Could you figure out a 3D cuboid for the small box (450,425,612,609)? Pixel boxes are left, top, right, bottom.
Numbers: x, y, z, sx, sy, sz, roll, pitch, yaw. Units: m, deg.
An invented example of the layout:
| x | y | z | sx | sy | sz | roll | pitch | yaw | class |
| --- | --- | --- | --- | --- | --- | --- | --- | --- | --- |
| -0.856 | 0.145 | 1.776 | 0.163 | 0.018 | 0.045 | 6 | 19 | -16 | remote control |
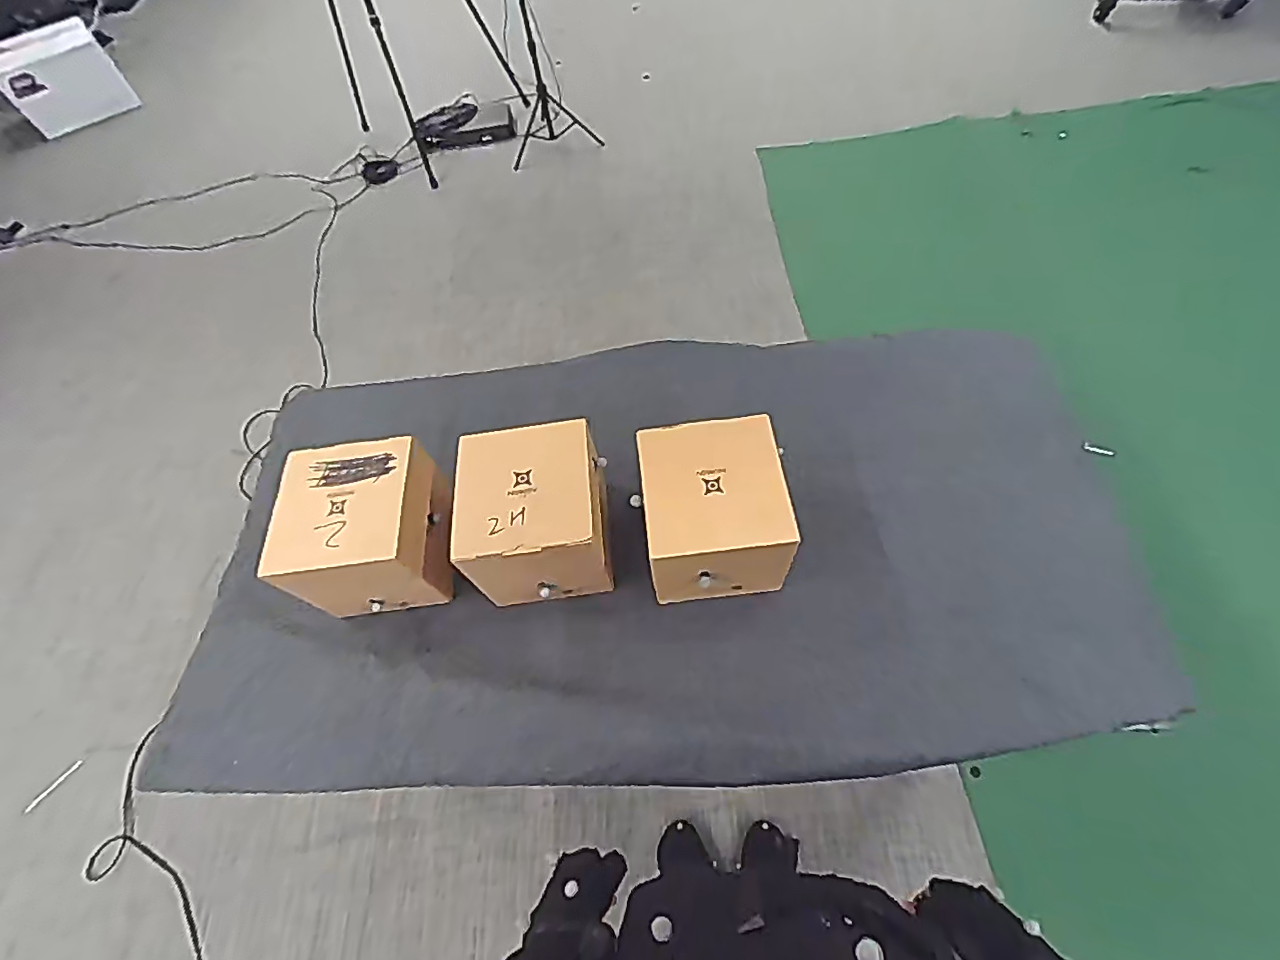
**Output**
| x | y | z | sx | sy | sz | roll | pitch | yaw | class |
| --- | --- | --- | --- | --- | --- | --- | --- | --- | --- |
| -0.133 | 0.054 | 0.716 | 0.168 | 0.176 | 0.179 | -8 | 59 | 2 | small box |
